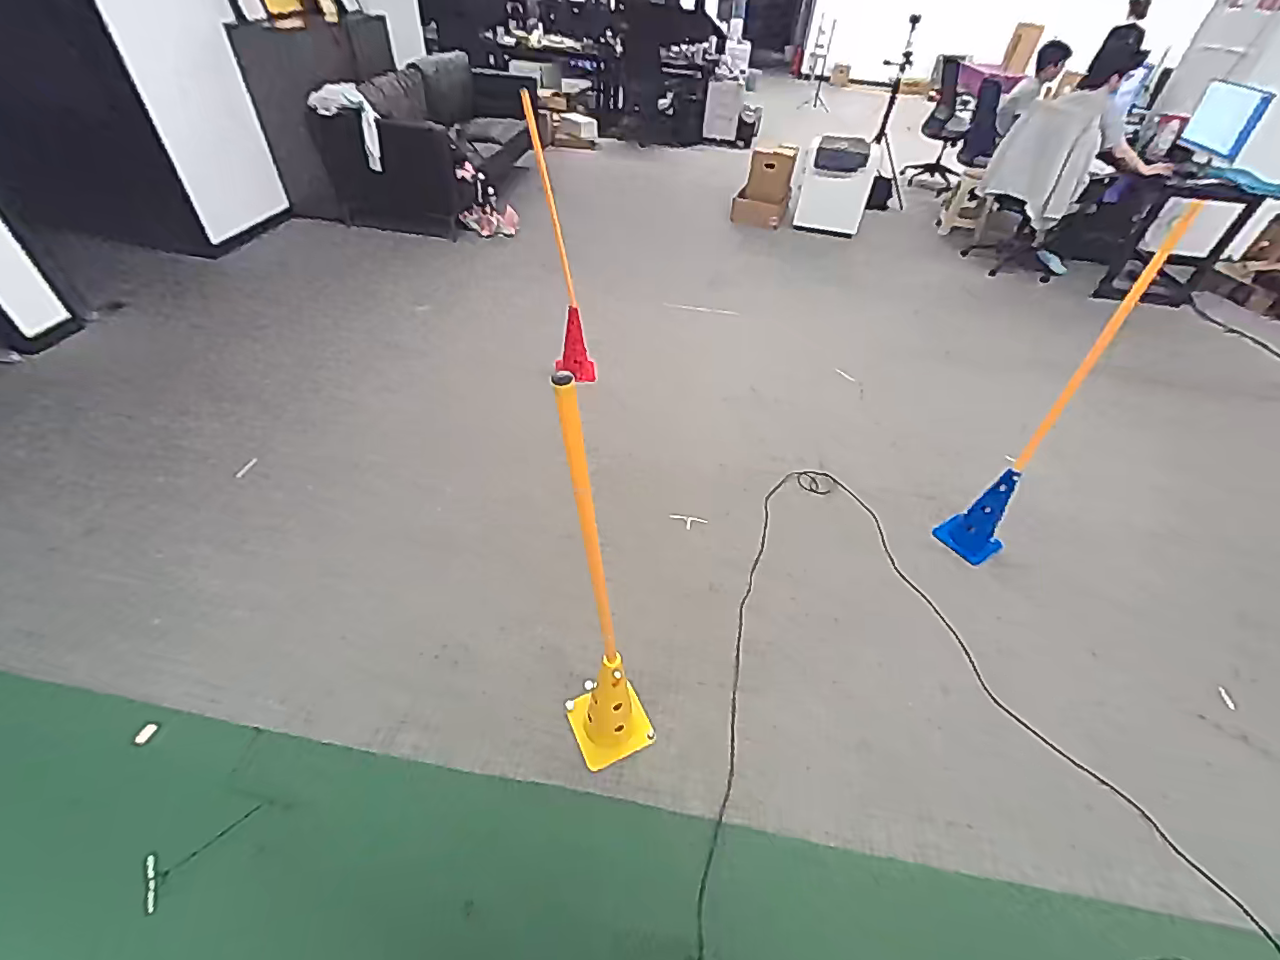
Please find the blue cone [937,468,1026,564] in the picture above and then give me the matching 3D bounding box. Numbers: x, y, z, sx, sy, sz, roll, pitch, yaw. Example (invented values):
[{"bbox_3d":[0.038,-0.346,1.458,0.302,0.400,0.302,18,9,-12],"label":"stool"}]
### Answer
[{"bbox_3d":[1.264,0.103,1.953,0.193,0.380,0.192,-22,49,-28],"label":"blue cone"}]
